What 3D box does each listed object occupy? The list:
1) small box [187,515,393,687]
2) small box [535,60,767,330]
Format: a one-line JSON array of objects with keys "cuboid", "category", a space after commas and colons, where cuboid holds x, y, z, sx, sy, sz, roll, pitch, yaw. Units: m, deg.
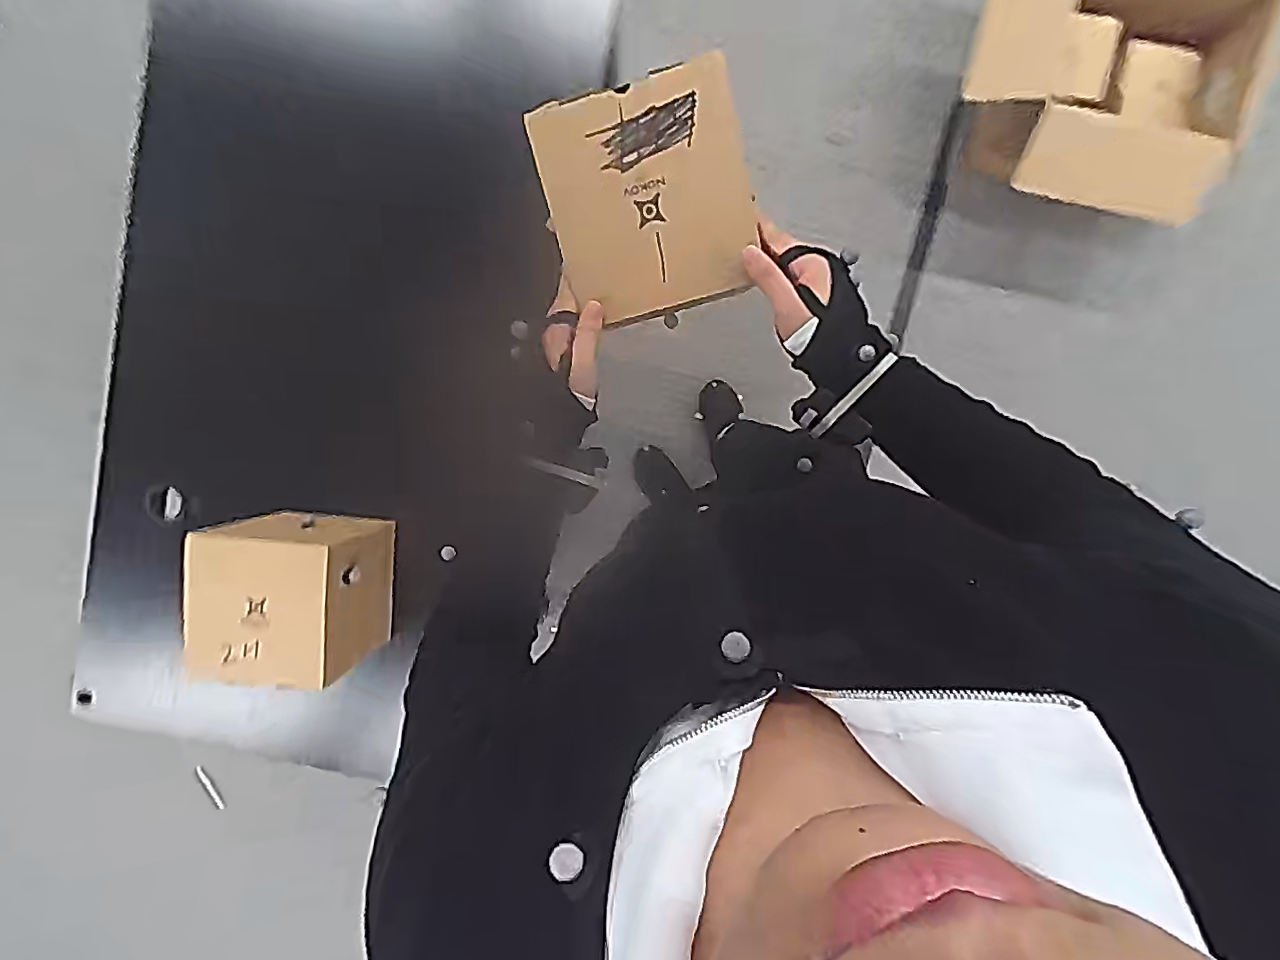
[{"cuboid": [-0.443, 0.145, 0.710, 0.168, 0.176, 0.179, 4, 96, 1], "category": "small box"}, {"cuboid": [0.016, -0.252, 0.529, 0.168, 0.176, 0.179, -13, 104, 8], "category": "small box"}]
